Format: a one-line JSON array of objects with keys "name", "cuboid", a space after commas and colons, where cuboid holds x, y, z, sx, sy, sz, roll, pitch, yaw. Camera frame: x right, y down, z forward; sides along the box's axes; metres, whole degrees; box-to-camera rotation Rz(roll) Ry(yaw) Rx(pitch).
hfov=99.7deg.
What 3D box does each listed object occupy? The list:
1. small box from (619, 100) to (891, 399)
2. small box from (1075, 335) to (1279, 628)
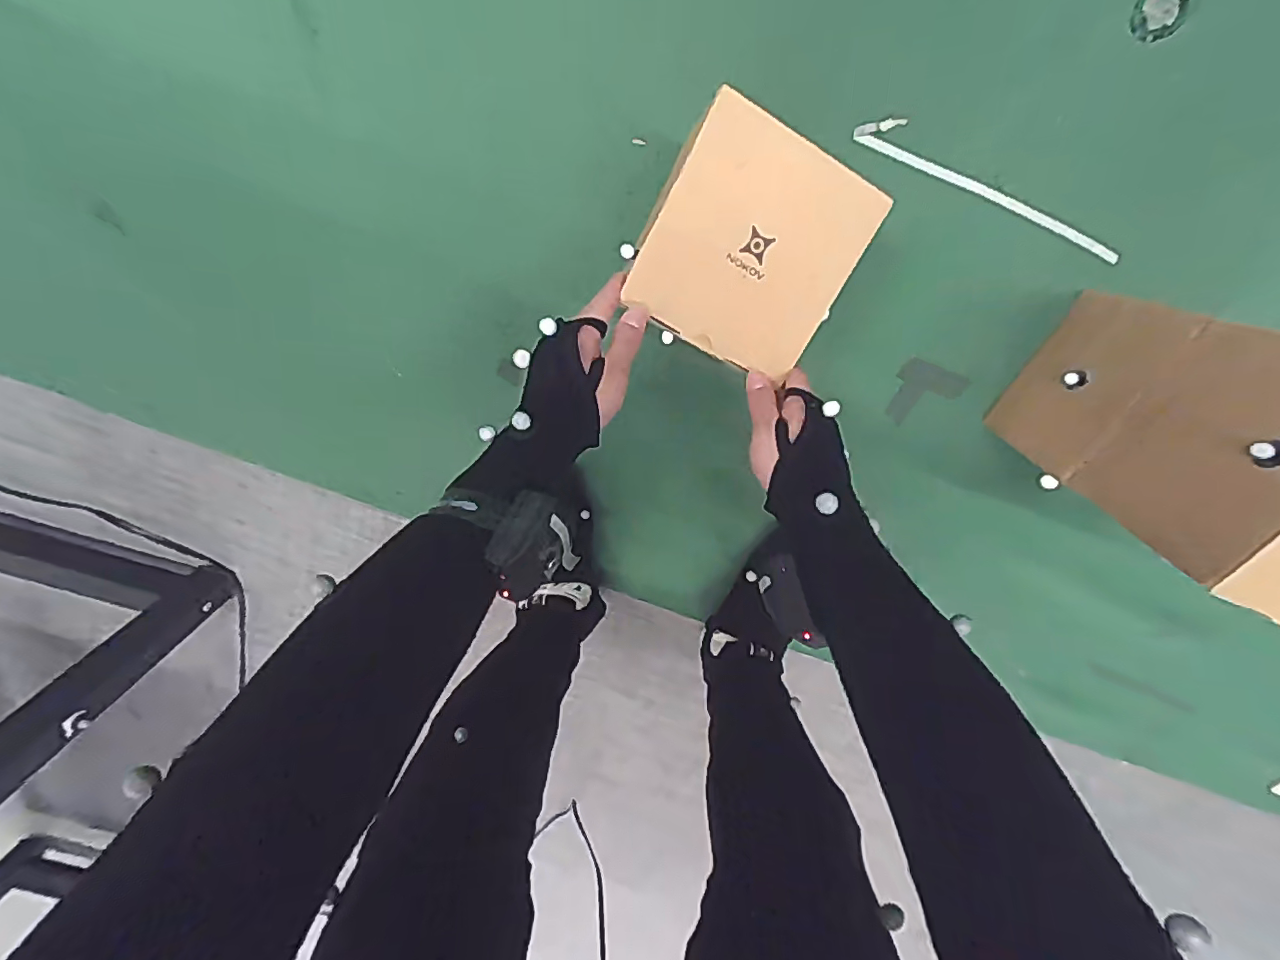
[{"name": "small box", "cuboid": [0.087, -0.204, 0.516, 0.168, 0.176, 0.179, 26, 105, -14]}, {"name": "small box", "cuboid": [0.514, 0.006, 0.429, 0.168, 0.176, 0.179, 22, 117, -7]}]
